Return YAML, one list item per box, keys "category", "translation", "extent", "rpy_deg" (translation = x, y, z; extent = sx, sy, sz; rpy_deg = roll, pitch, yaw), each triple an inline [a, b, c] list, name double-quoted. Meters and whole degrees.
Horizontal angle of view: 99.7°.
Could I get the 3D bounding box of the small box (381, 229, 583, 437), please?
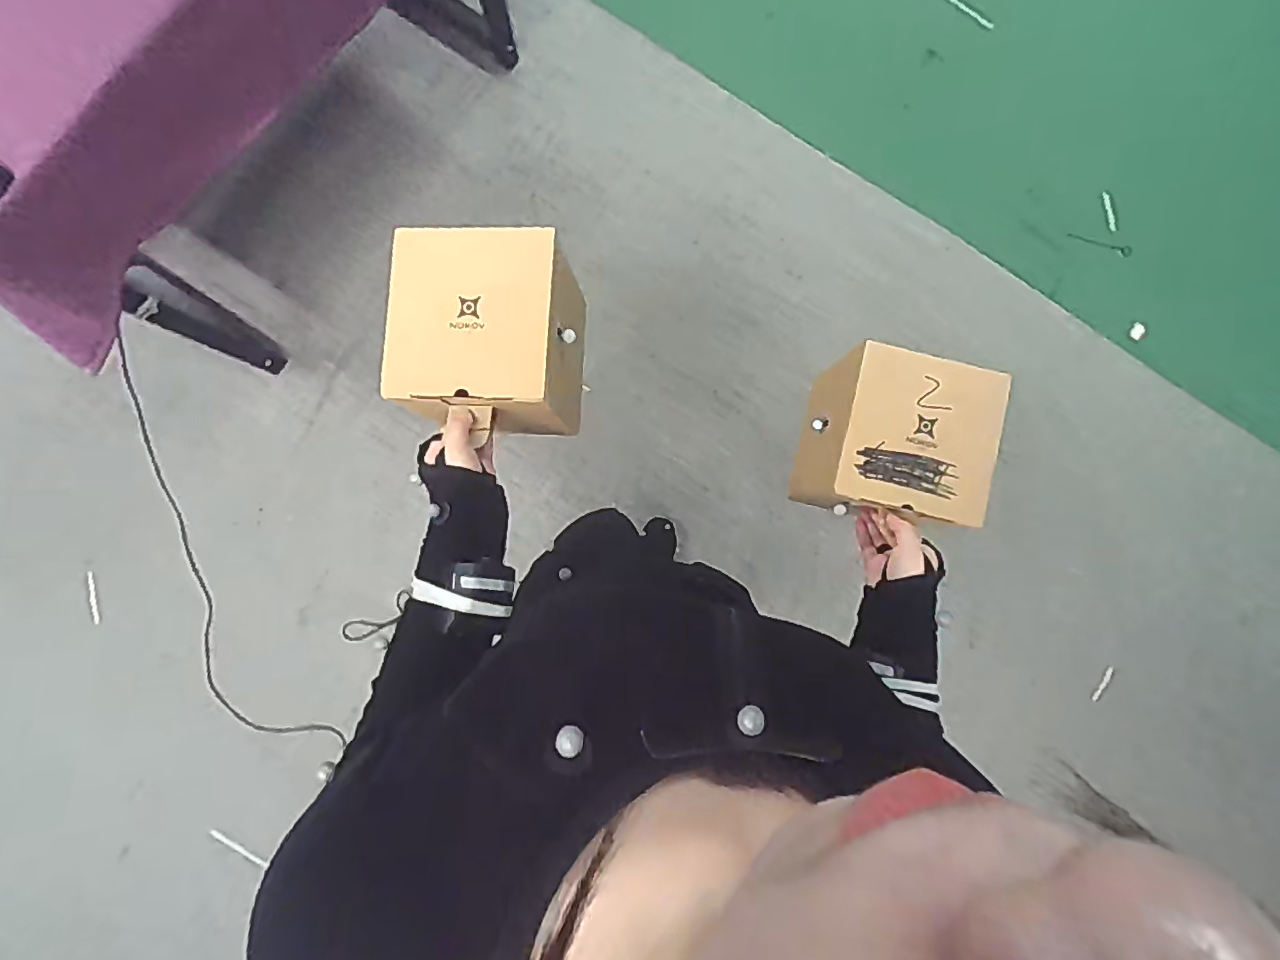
- category: "small box"
  translation: [-0.159, -0.152, 0.604]
  extent: [0.168, 0.176, 0.179]
  rpy_deg: [2, 85, 4]
